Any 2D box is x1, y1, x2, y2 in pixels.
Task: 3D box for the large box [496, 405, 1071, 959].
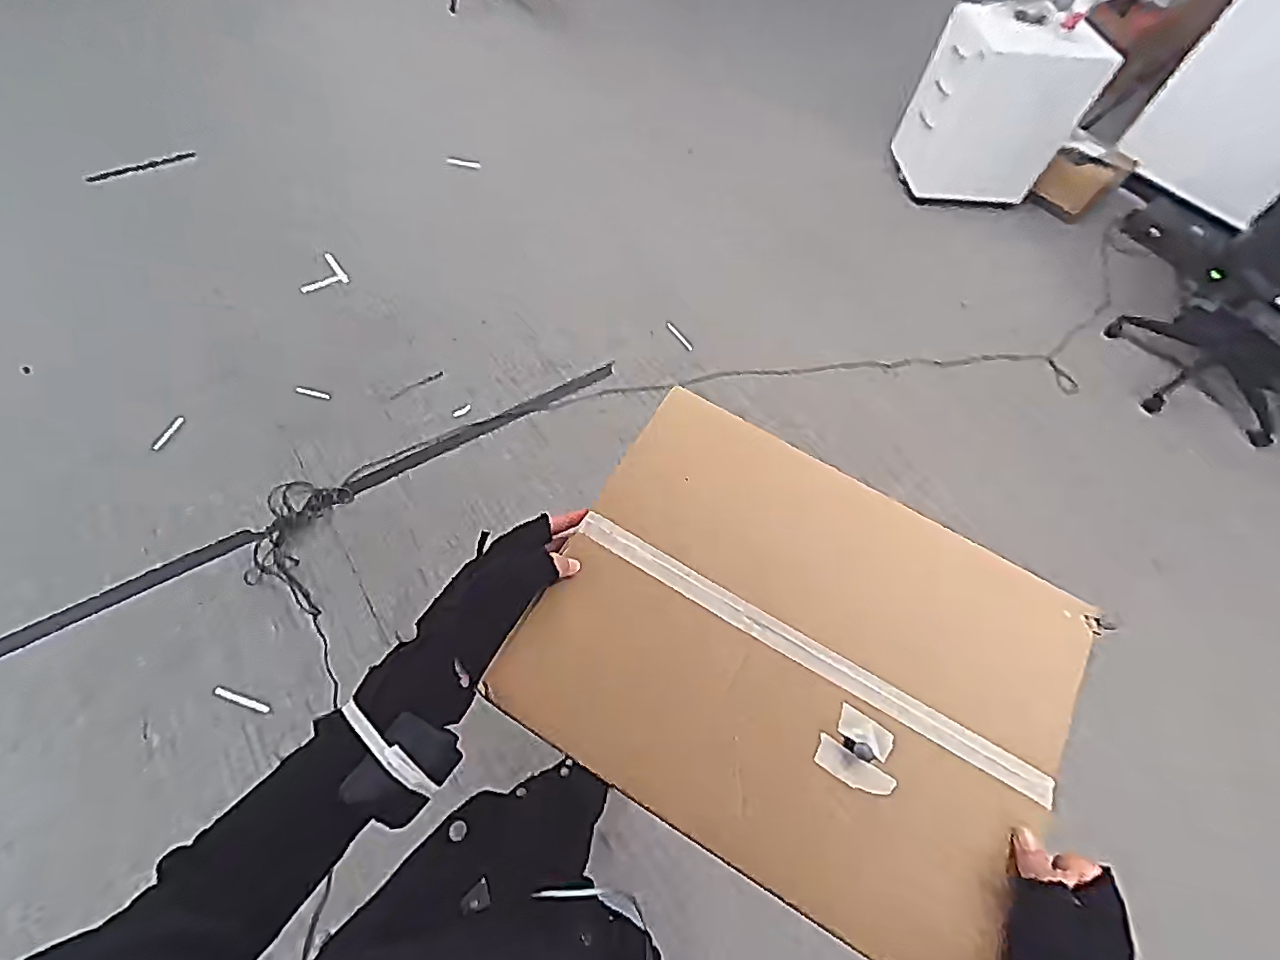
[{"bbox_3d":[0.121,0.192,0.584,0.408,0.320,0.320,30,71,8],"label":"large box"}]
